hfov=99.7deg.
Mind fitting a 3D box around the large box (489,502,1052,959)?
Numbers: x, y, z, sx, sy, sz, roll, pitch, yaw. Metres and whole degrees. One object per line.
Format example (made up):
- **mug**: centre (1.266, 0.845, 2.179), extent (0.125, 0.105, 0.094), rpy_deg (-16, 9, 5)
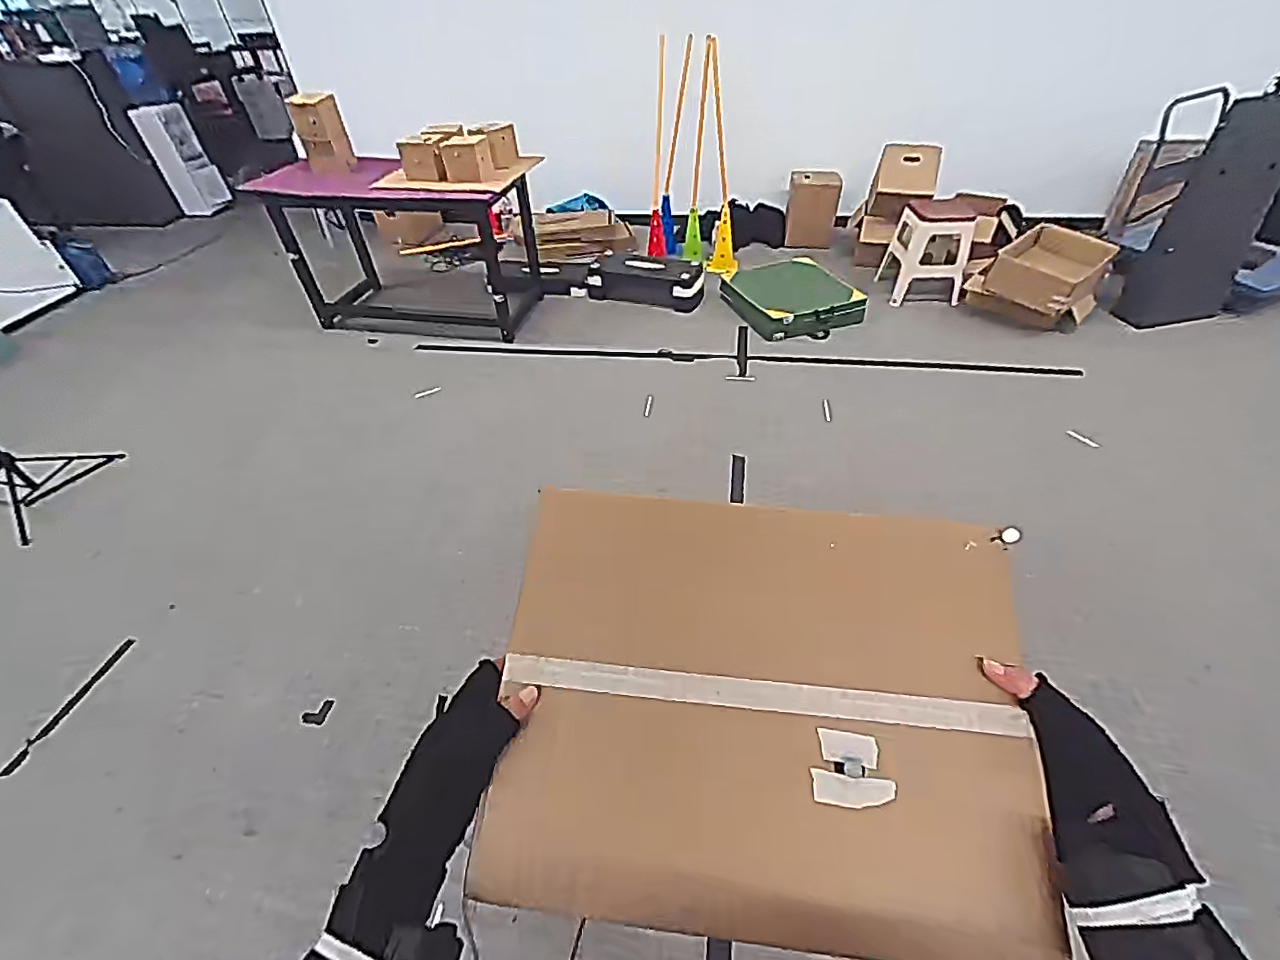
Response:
- **large box**: centre (0.100, 0.232, 0.573), extent (0.408, 0.320, 0.320), rpy_deg (5, 68, 4)
